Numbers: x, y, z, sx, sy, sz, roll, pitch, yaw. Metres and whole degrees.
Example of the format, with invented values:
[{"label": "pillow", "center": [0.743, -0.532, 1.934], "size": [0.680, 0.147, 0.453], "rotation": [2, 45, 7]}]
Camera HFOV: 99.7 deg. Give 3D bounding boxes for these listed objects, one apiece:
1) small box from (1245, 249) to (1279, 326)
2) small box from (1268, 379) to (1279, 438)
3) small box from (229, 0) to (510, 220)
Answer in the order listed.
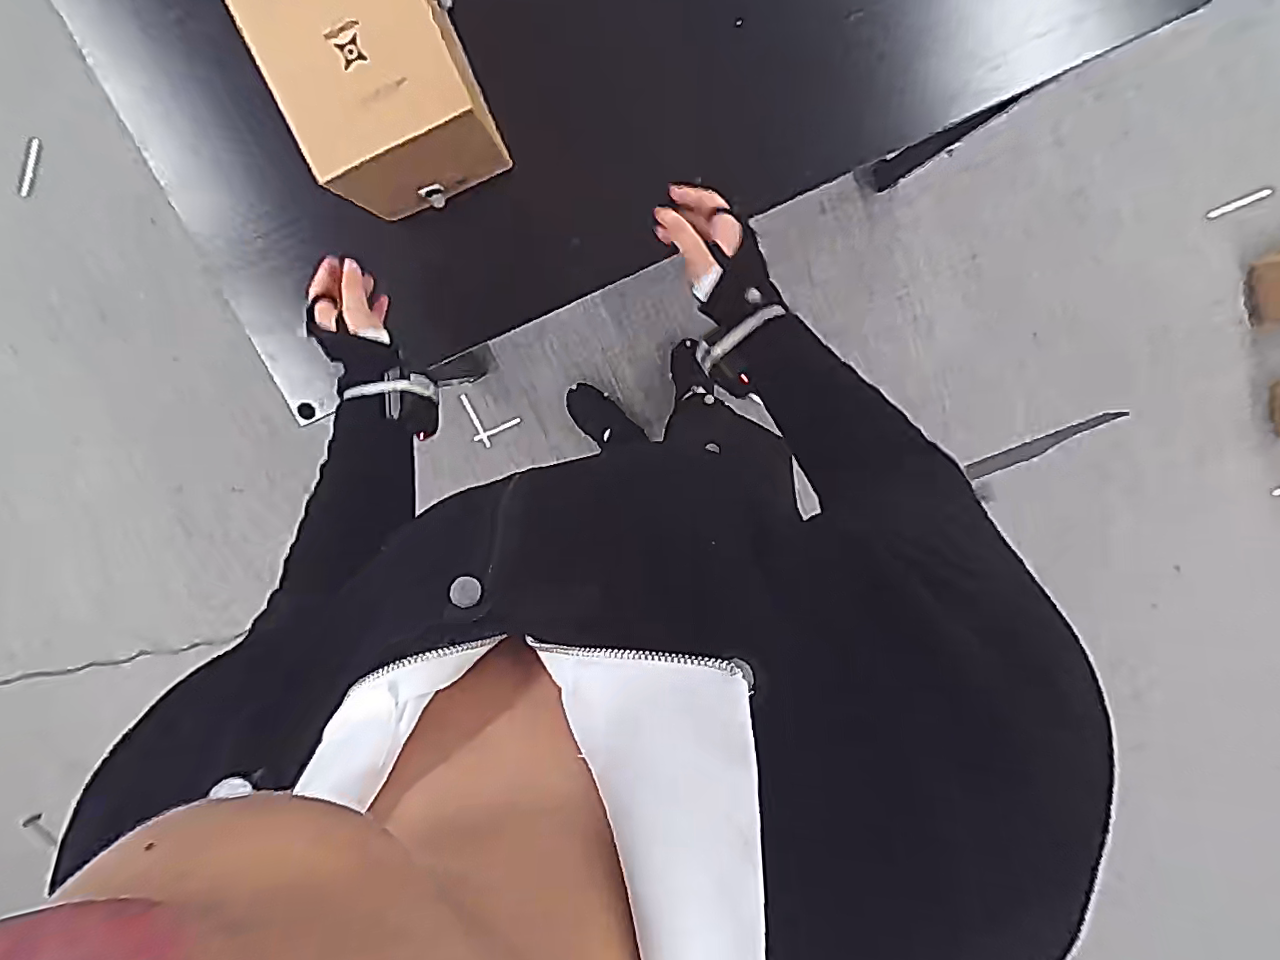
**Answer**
[{"label": "small box", "center": [1.651, -0.487, 1.314], "size": [0.168, 0.176, 0.179], "rotation": [-26, 102, 5]}, {"label": "small box", "center": [1.786, -0.197, 1.388], "size": [0.179, 0.176, 0.168], "rotation": [-21, 103, 5]}, {"label": "small box", "center": [-0.259, -0.404, 0.563], "size": [0.168, 0.176, 0.179], "rotation": [-23, 103, 5]}]
